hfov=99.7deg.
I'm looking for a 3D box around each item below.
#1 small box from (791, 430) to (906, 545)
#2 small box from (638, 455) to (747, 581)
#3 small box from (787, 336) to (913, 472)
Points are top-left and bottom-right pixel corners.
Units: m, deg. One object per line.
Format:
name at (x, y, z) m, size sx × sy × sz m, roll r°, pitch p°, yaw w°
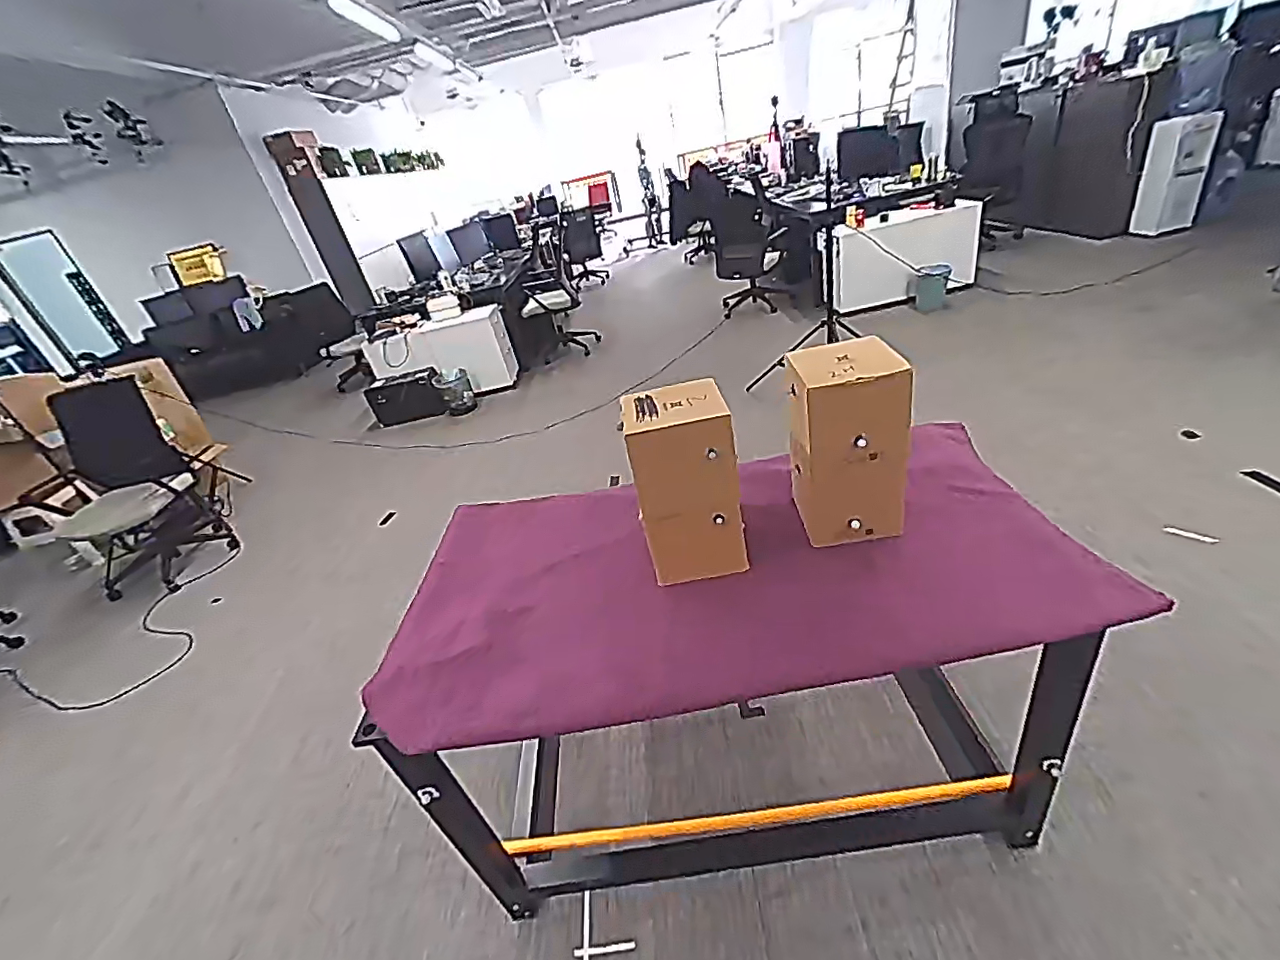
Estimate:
small box at (0.394, 0.003, 1.045) m, size 0.168 × 0.176 × 0.179 m, roll -10°, pitch 32°, yaw 7°
small box at (0.100, 0.076, 1.047) m, size 0.179 × 0.176 × 0.168 m, roll -11°, pitch 31°, yaw 4°
small box at (0.363, -0.135, 0.960) m, size 0.168 × 0.176 × 0.179 m, roll -10°, pitch 31°, yaw 7°
